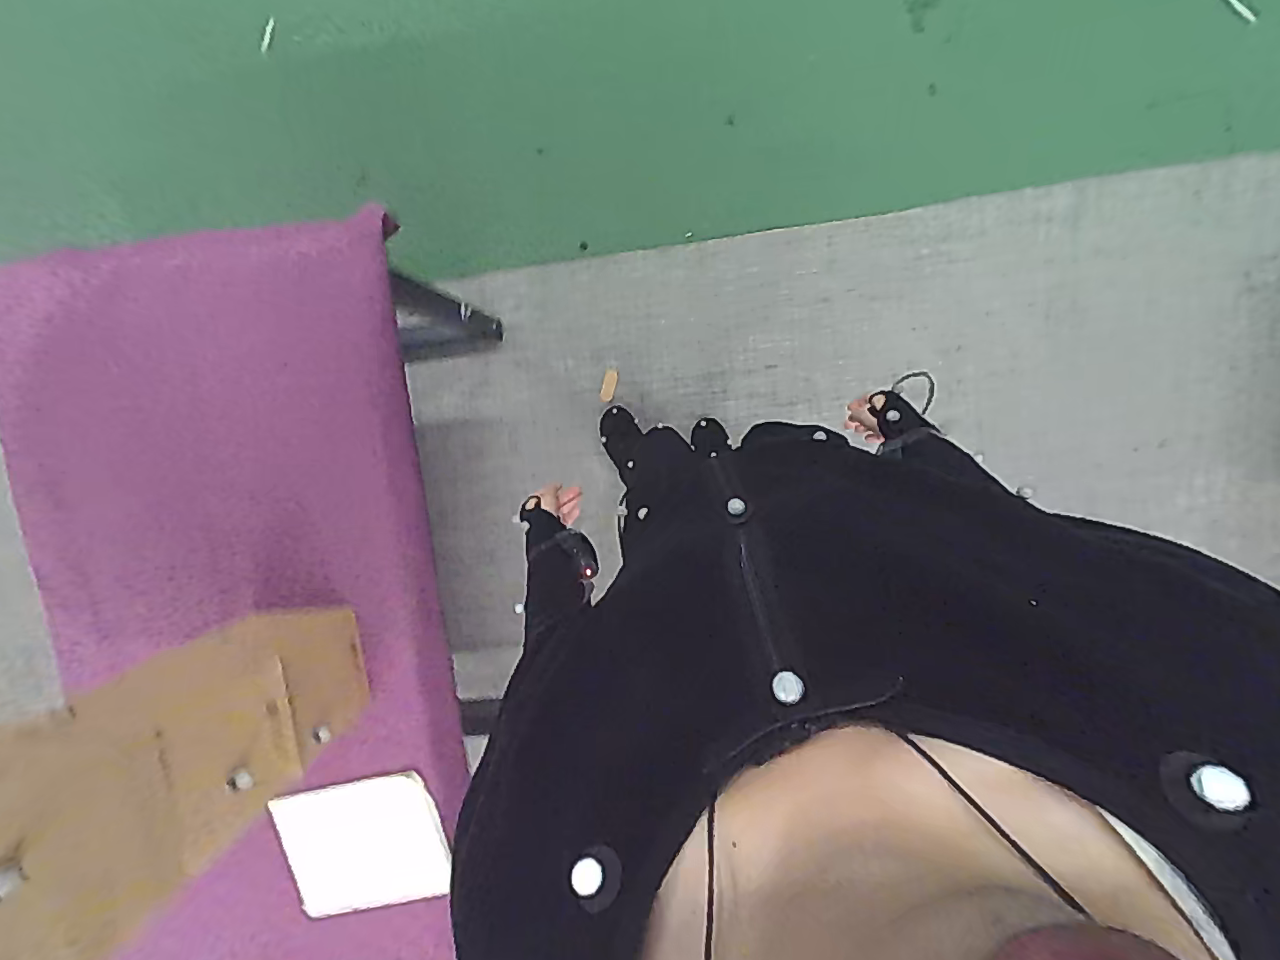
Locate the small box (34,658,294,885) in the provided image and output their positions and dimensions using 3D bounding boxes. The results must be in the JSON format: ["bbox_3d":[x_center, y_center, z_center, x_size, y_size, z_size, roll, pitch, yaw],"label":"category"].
[{"bbox_3d":[-0.527,0.314,0.608,0.179,0.176,0.168,-5,97,6],"label":"small box"}]
